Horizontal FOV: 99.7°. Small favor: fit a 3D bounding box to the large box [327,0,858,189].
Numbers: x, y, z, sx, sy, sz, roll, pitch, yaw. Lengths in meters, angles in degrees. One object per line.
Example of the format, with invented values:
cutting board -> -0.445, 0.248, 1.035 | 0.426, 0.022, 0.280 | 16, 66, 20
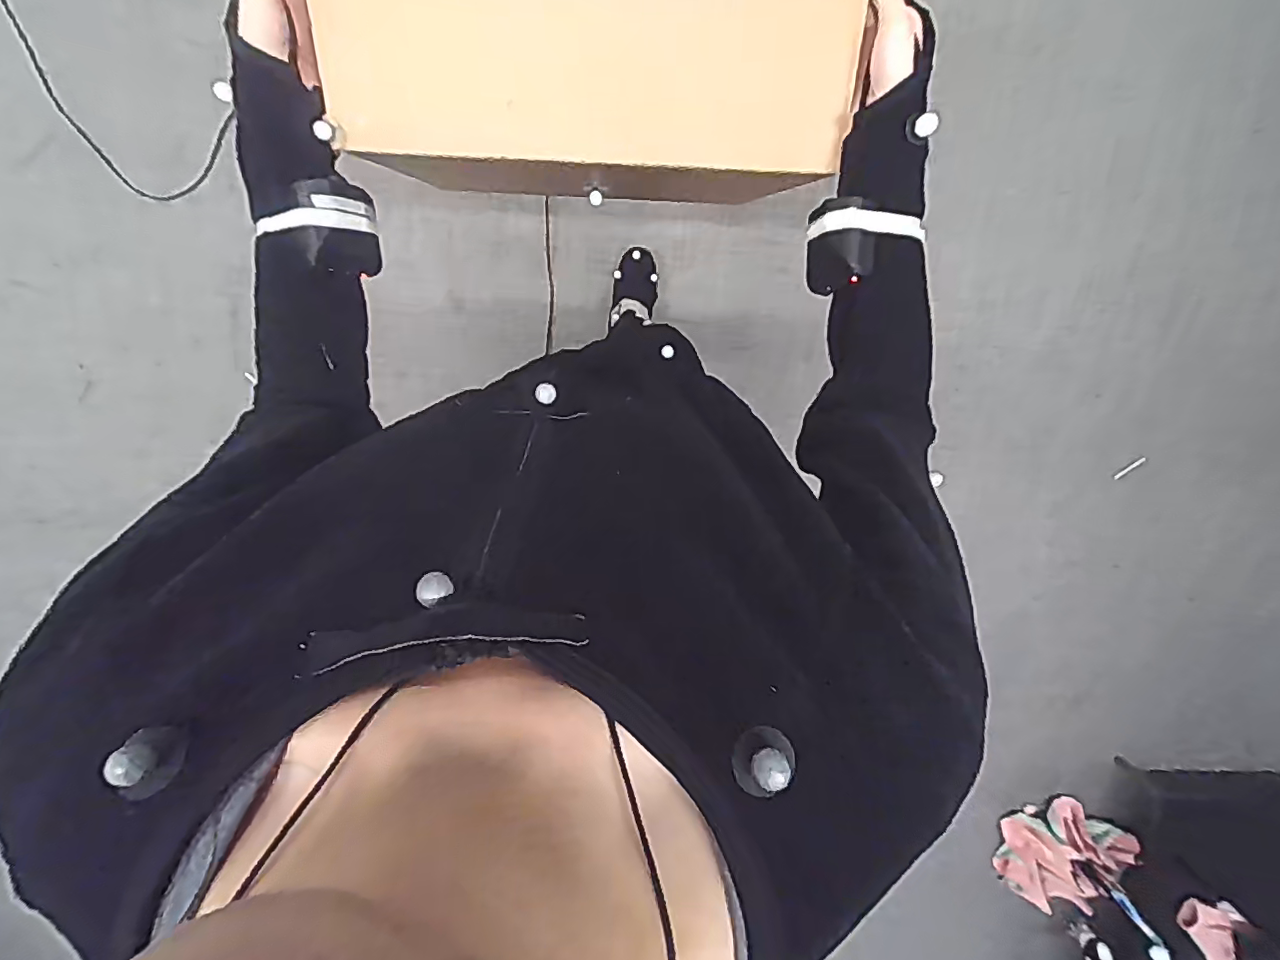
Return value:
large box -> -0.038, -0.466, 0.519 | 0.408, 0.320, 0.320 | 0, 113, -4
